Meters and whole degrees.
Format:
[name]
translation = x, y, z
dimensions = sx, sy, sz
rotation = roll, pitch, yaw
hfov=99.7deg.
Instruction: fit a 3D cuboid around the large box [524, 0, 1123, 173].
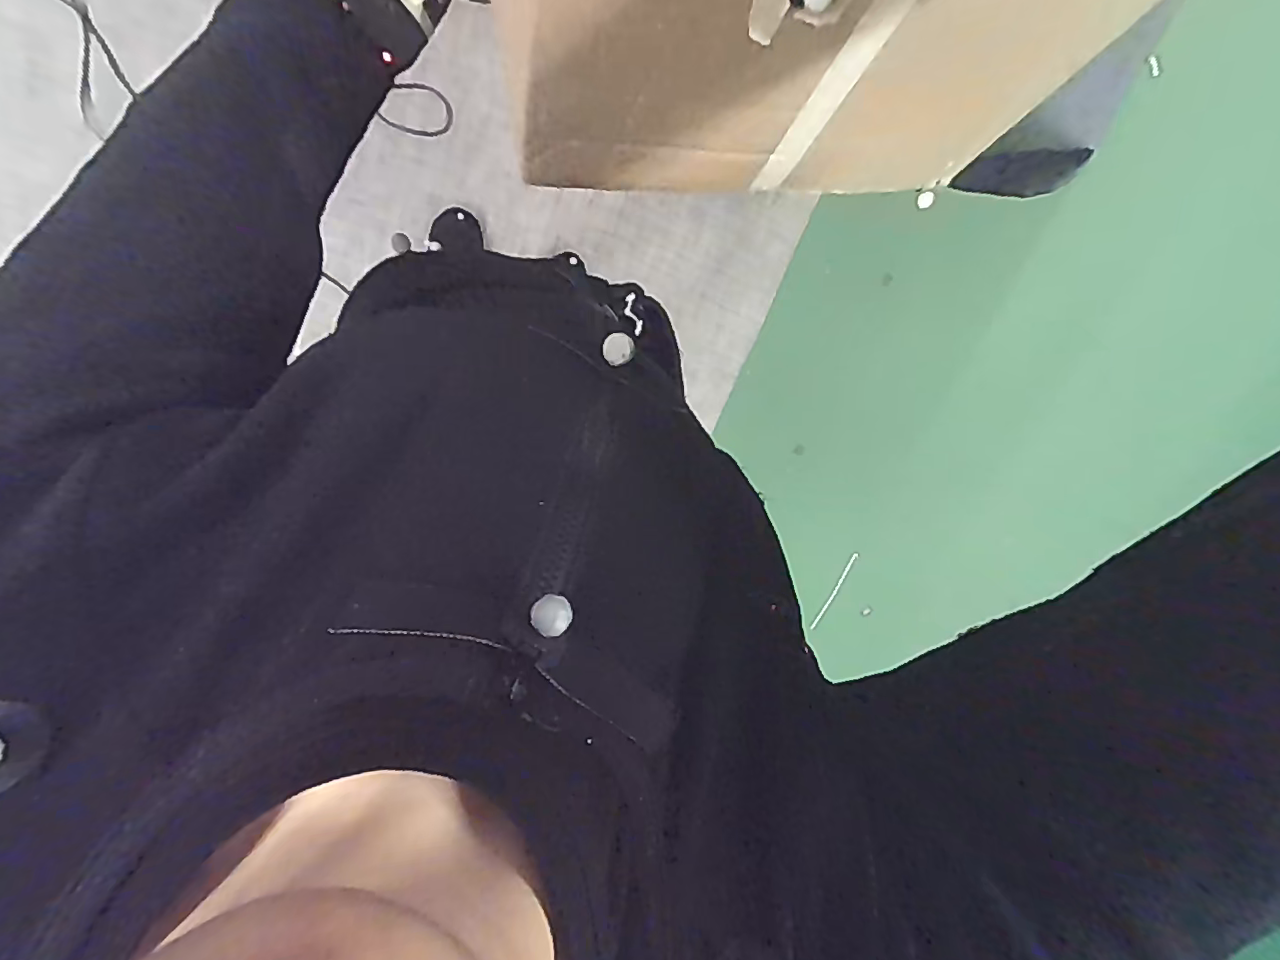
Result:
[large box]
translation = 0.107, -0.392, 0.198
dimensions = 0.320, 0.408, 0.320
rotation = -9, 85, -15
